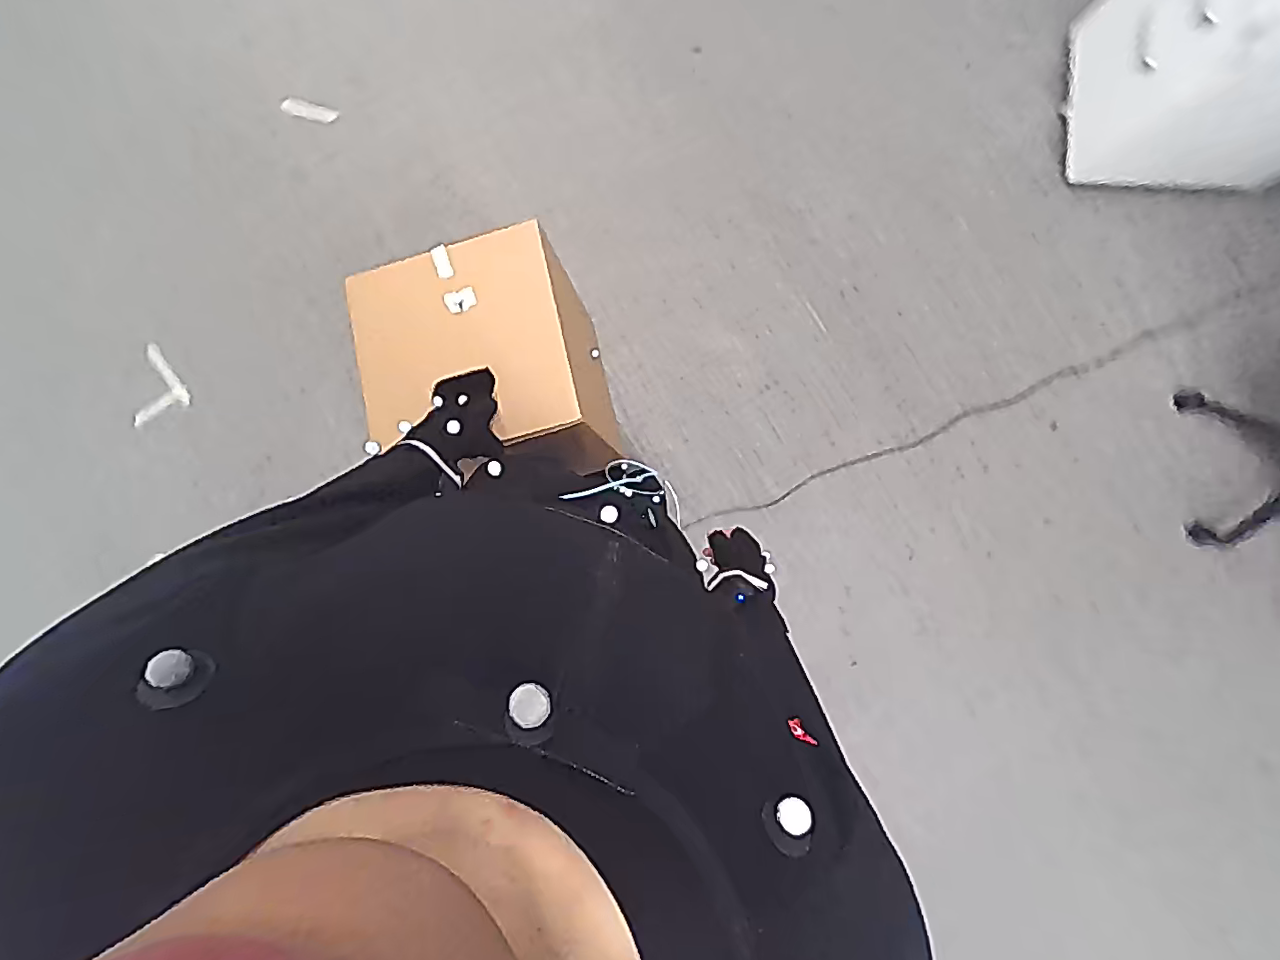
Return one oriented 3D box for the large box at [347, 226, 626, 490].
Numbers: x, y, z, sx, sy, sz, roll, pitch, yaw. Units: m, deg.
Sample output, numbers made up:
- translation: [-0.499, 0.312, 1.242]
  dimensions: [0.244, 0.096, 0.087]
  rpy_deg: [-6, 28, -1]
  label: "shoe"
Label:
- translation: [-0.241, -0.180, 0.982]
  dimensions: [0.320, 0.408, 0.320]
  rpy_deg: [-14, 83, 7]
  label: "large box"
